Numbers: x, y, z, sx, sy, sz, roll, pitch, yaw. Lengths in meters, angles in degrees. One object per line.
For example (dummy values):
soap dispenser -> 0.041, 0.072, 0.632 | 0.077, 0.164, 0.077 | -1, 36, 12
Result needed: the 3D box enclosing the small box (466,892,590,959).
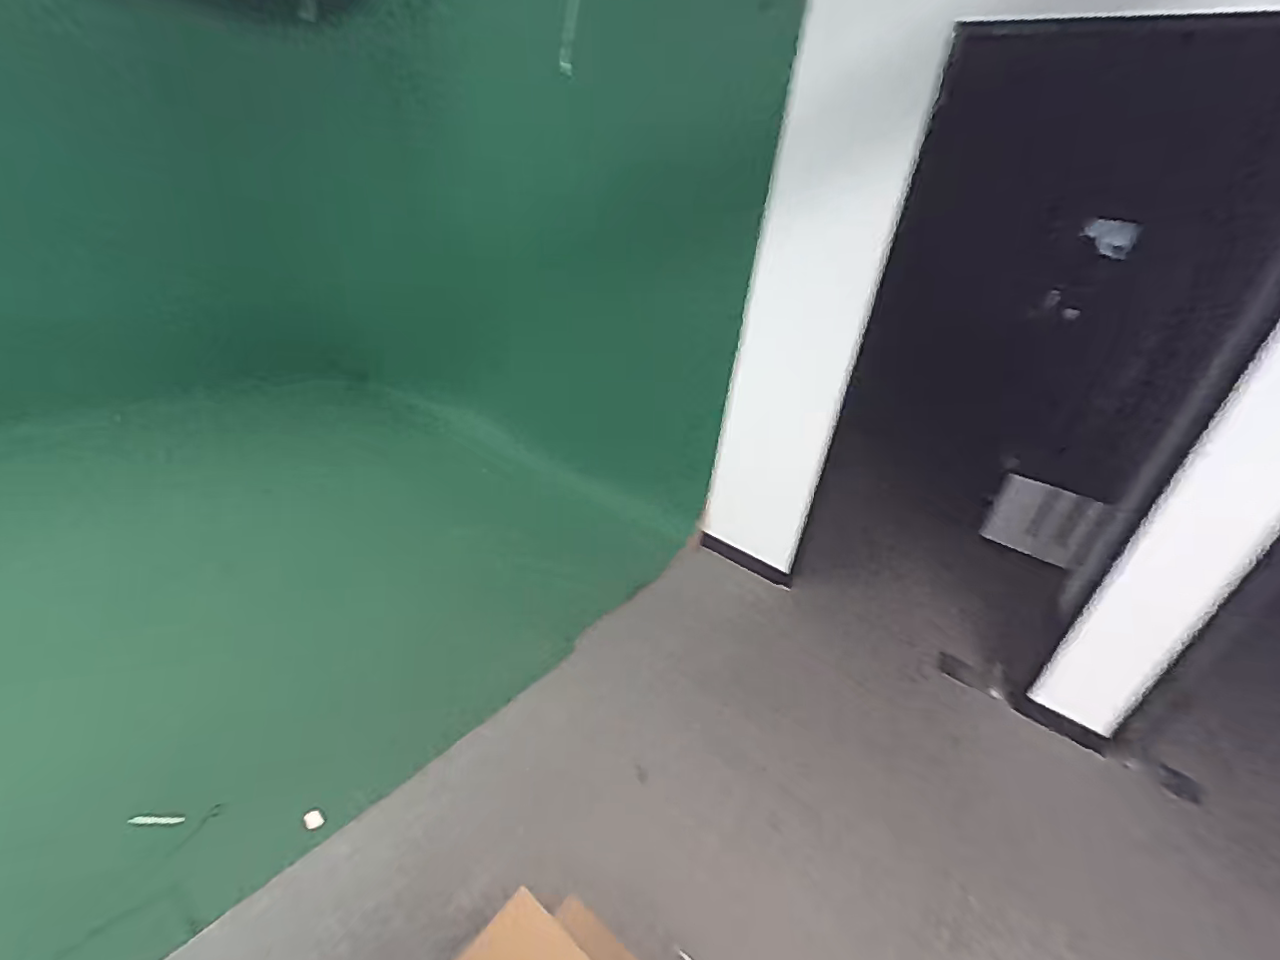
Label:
small box -> -0.166, 0.740, 0.747 | 0.168, 0.176, 0.179 | 27, 37, 29
